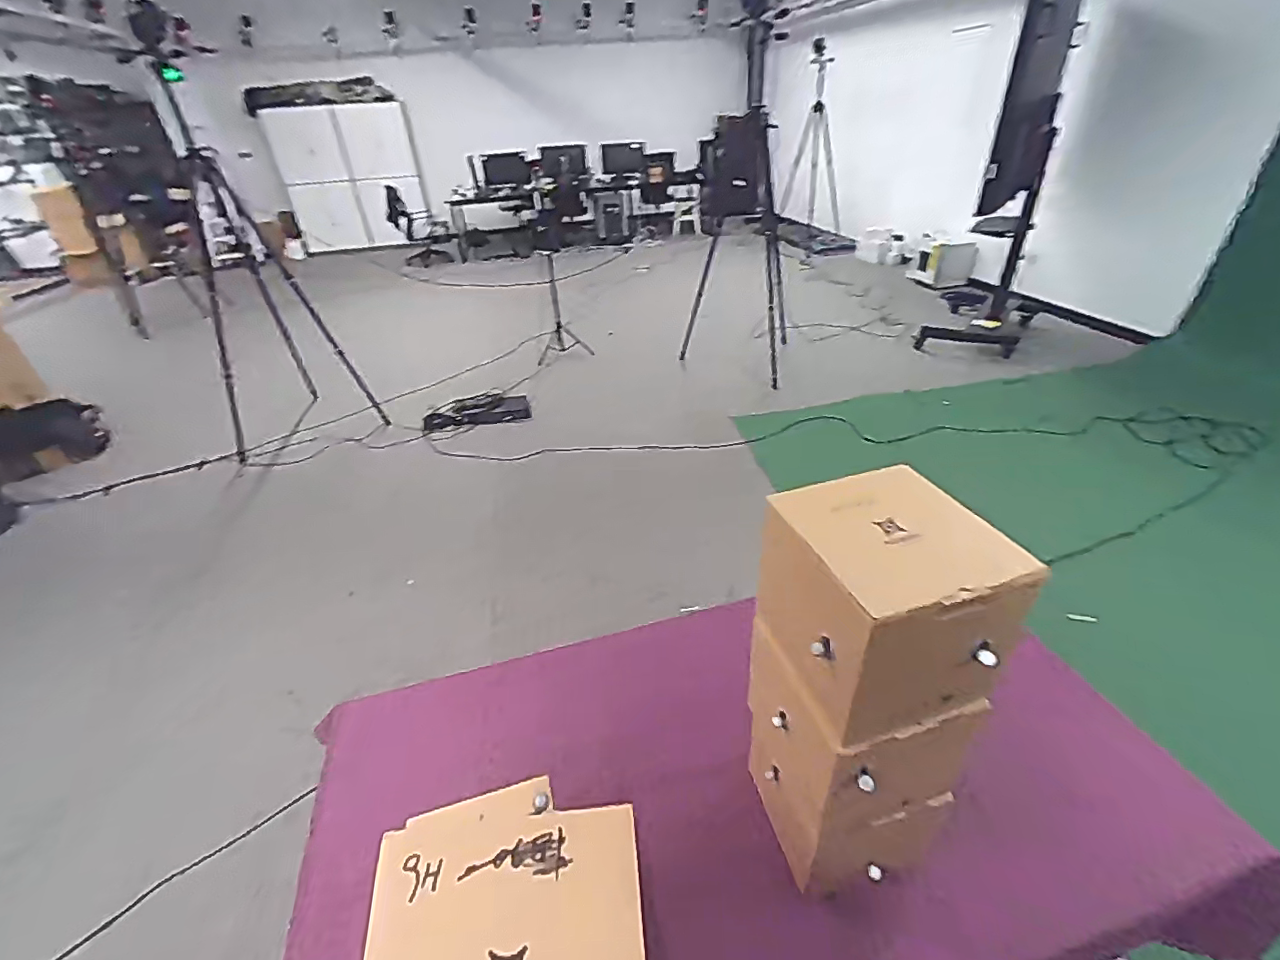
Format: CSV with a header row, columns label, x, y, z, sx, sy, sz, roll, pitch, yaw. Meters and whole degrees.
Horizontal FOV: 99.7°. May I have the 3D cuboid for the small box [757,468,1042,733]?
label,x,y,z,sx,sy,sz,roll,pitch,yaw
small box,0.226,0.116,0.525,0.168,0.176,0.179,-12,34,-12

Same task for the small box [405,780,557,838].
label,x,y,z,sx,sy,sz,roll,pitch,yaw
small box,-0.161,0.487,0.608,0.168,0.176,0.179,-12,34,-12

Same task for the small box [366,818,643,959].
label,x,y,z,sx,sy,sz,roll,pitch,yaw
small box,-0.081,0.344,0.375,0.168,0.176,0.179,-3,57,-5

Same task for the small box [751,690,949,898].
label,x,y,z,sx,sy,sz,roll,pitch,yaw
small box,0.252,0.391,0.701,0.168,0.176,0.179,-11,34,-8
